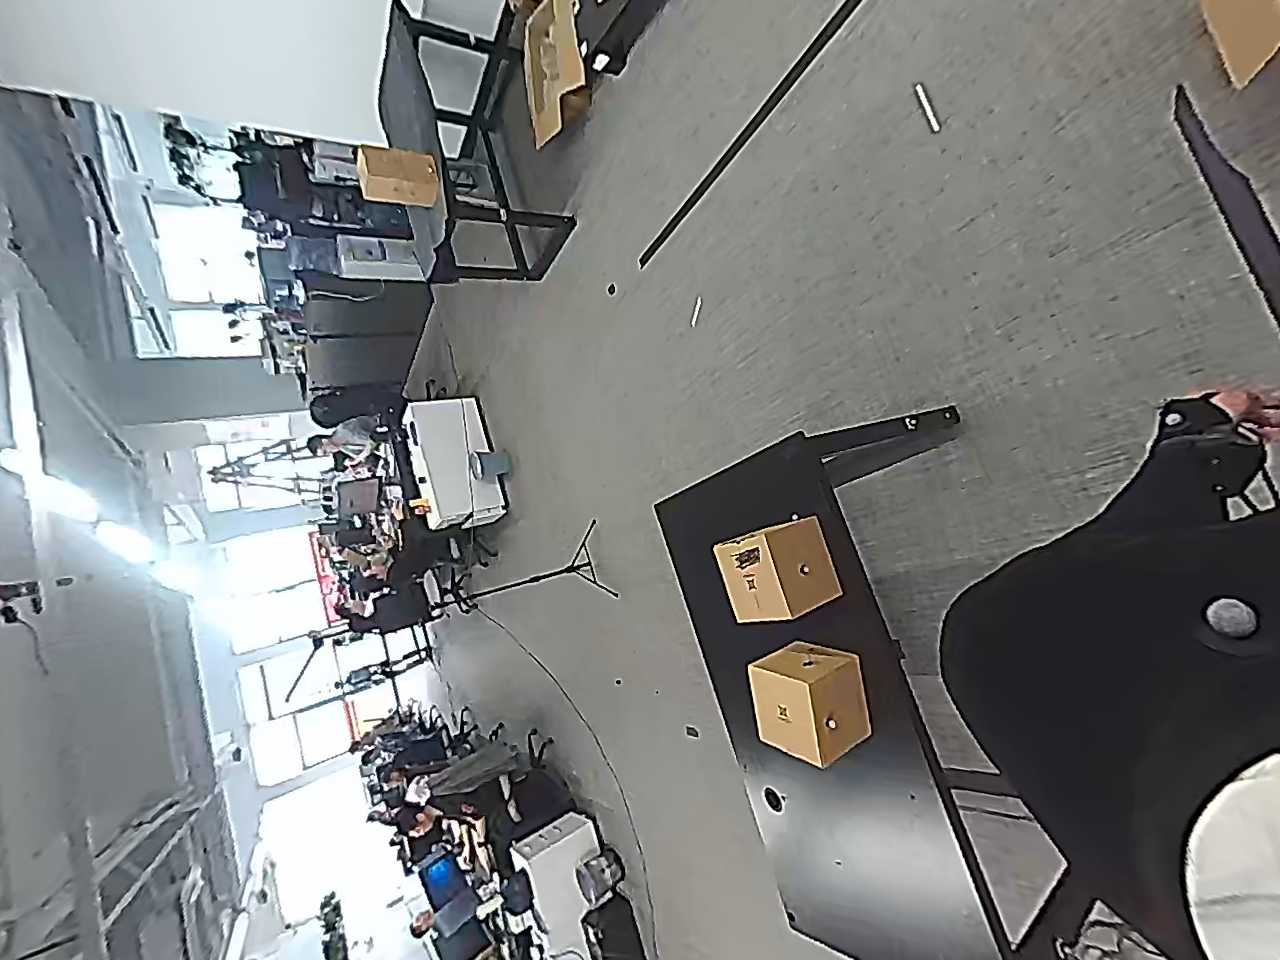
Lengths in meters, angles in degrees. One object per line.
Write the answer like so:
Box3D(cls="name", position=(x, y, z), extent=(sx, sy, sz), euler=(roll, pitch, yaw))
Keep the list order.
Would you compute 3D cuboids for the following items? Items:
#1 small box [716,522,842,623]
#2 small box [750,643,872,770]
Box3D(cls="small box", position=(0.297, 0.195, 1.160), extent=(0.168, 0.176, 0.179), euler=(-27, 78, 56))
Box3D(cls="small box", position=(0.364, 0.467, 1.151), extent=(0.168, 0.176, 0.179), euler=(-7, 95, 57))
